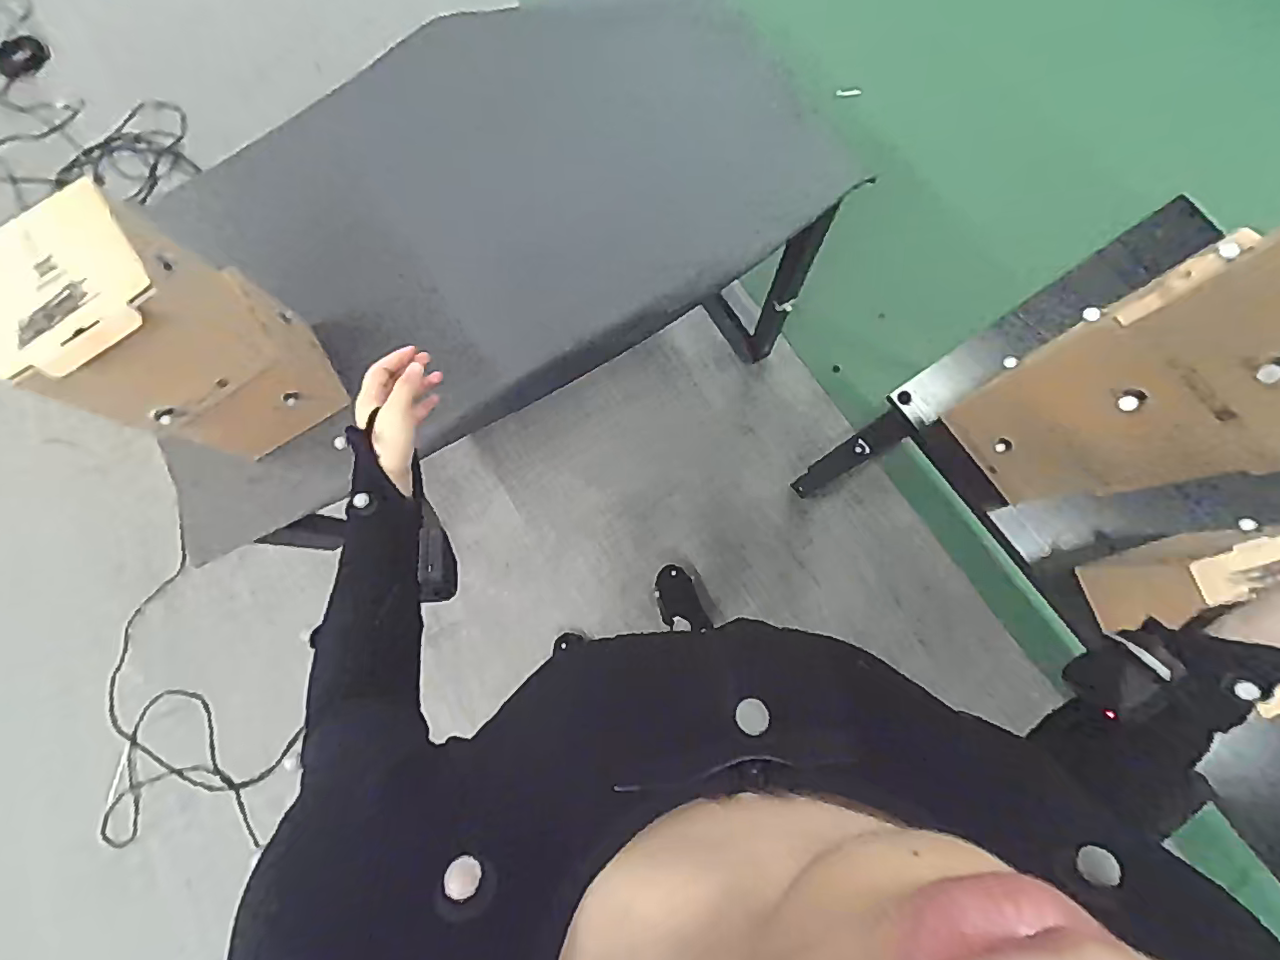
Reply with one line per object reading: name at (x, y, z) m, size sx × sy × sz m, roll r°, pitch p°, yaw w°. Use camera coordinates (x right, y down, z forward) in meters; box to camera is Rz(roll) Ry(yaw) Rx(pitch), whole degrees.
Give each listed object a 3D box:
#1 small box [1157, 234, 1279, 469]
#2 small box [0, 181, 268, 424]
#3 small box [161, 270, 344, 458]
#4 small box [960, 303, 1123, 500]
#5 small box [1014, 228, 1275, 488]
small box at (0.547, -0.128, 0.393) m, size 0.179 × 0.176 × 0.168 m, roll -32°, pitch 79°, yaw -3°
small box at (-0.581, -0.184, 0.620) m, size 0.168 × 0.176 × 0.179 m, roll -37°, pitch 77°, yaw -6°
small box at (-0.566, -0.156, 0.782) m, size 0.179 × 0.176 × 0.168 m, roll -34°, pitch 77°, yaw -4°
small box at (0.566, -0.090, 0.717) m, size 0.179 × 0.176 × 0.168 m, roll -33°, pitch 81°, yaw -4°
small box at (0.549, -0.106, 0.556) m, size 0.168 × 0.176 × 0.179 m, roll -33°, pitch 80°, yaw -4°
